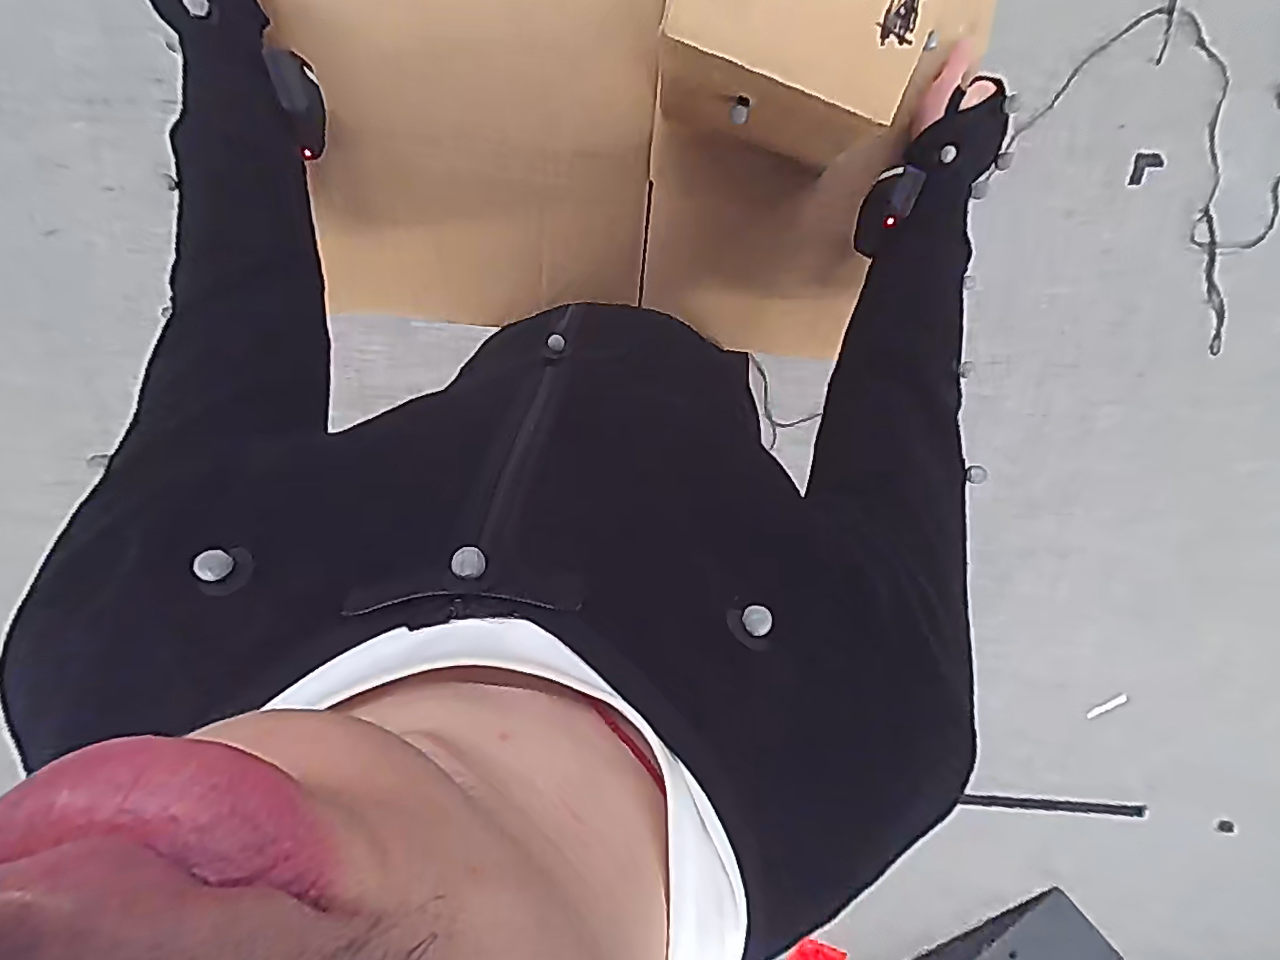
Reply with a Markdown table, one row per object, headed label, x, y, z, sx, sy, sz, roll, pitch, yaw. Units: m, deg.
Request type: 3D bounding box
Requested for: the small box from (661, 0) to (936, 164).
| label | x | y | z | sx | sy | sz | roll | pitch | yaw |
| --- | --- | --- | --- | --- | --- | --- | --- | --- | --- |
| small box | 0.126 | -0.383 | 0.436 | 0.179 | 0.176 | 0.168 | 19 | 109 | -3 |
